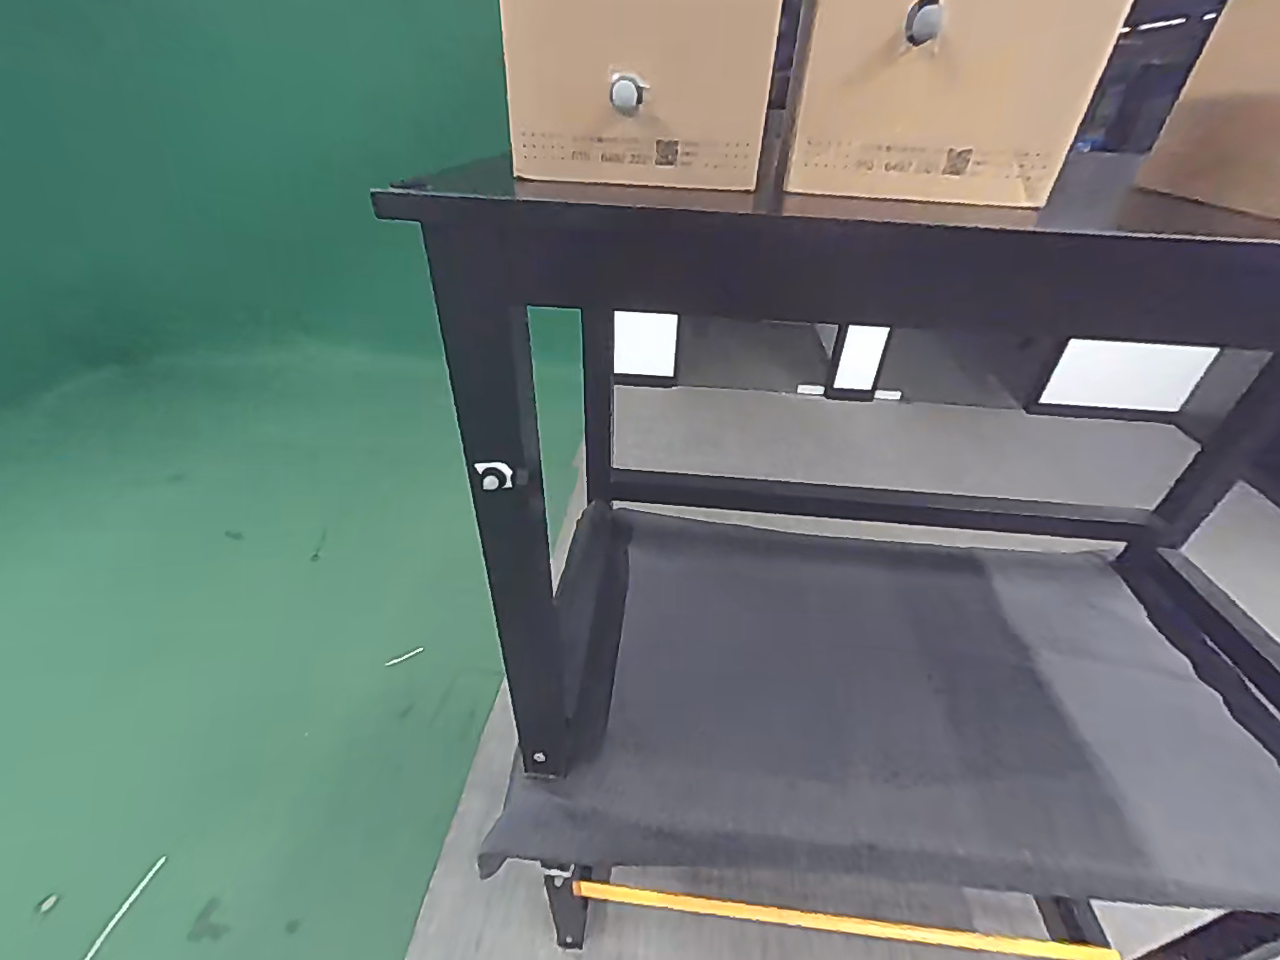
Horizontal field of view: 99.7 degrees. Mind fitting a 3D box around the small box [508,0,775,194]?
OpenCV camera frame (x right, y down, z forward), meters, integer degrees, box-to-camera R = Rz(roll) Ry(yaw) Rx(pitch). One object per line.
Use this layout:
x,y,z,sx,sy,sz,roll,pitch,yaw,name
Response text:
0.003,-0.319,0.392,0.168,0.176,0.179,4,36,2,small box
